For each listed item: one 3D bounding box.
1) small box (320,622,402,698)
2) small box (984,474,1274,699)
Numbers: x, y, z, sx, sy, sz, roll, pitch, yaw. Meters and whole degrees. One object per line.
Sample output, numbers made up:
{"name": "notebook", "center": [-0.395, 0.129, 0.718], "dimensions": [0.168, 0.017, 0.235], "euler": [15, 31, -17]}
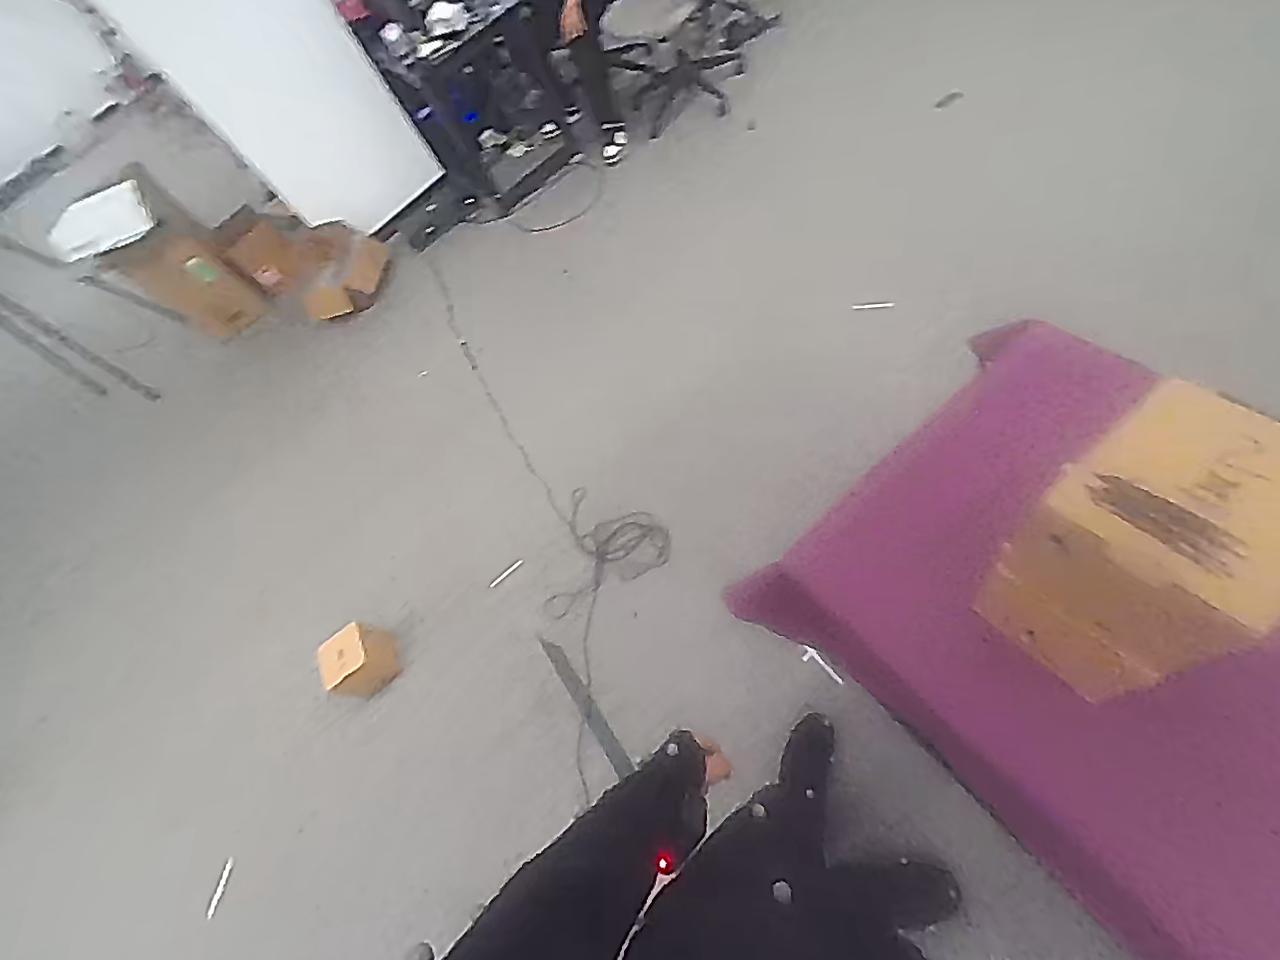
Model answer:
{"name": "small box", "center": [-0.955, 0.623, 1.855], "dimensions": [0.168, 0.176, 0.179], "euler": [-38, 56, 0]}
{"name": "small box", "center": [0.547, 0.132, 0.641], "dimensions": [0.179, 0.176, 0.168], "euler": [-42, 56, -3]}
